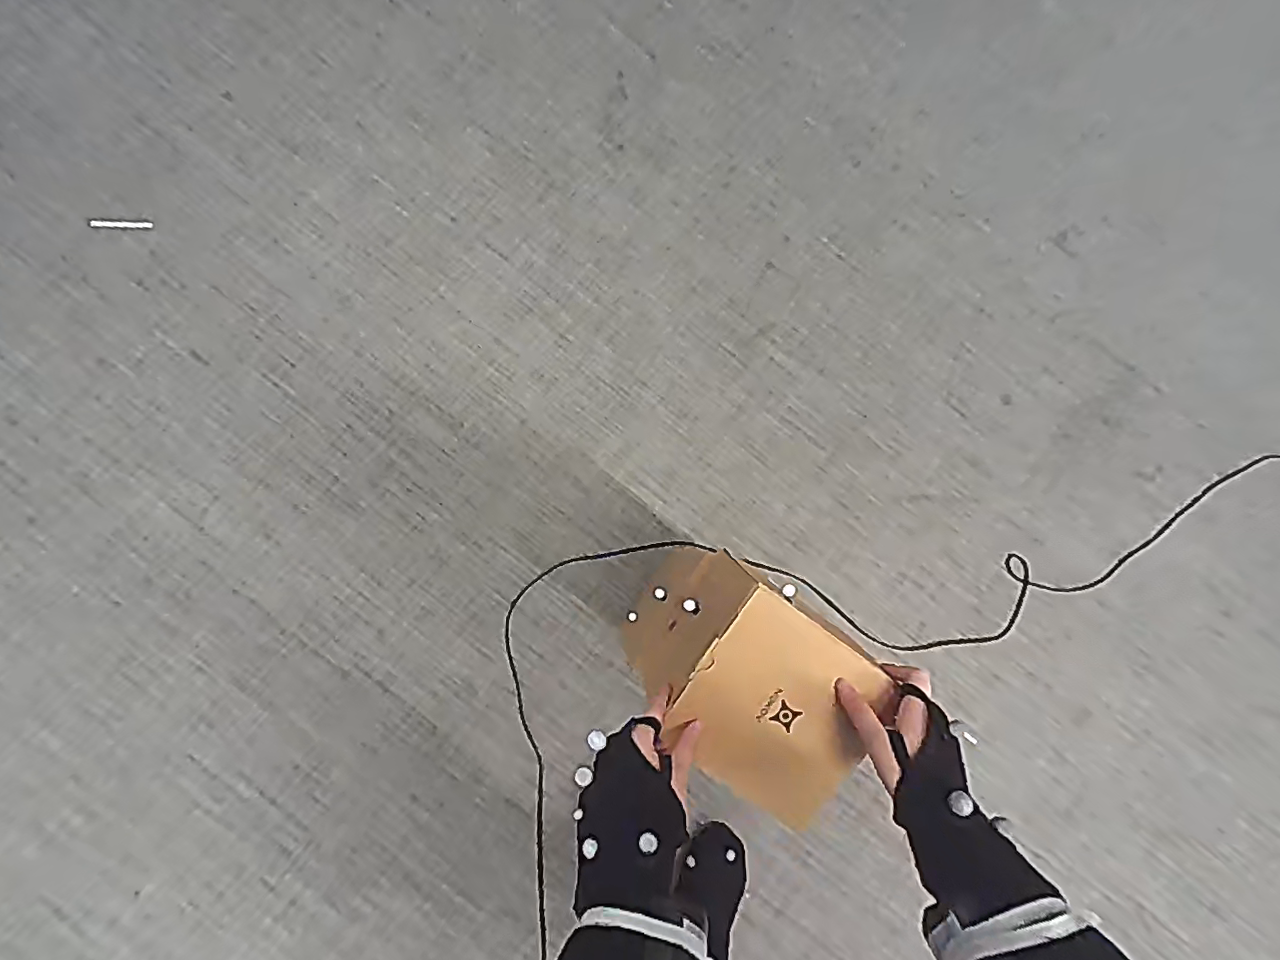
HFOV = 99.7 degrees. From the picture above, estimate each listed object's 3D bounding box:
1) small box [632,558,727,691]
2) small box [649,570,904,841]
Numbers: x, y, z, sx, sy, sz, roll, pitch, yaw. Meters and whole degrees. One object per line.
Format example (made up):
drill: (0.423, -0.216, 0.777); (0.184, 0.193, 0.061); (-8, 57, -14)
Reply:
small box: (0.100, 0.223, 0.742); (0.168, 0.176, 0.179); (34, 82, -1)
small box: (0.125, 0.214, 0.568); (0.179, 0.176, 0.168); (34, 91, -1)
